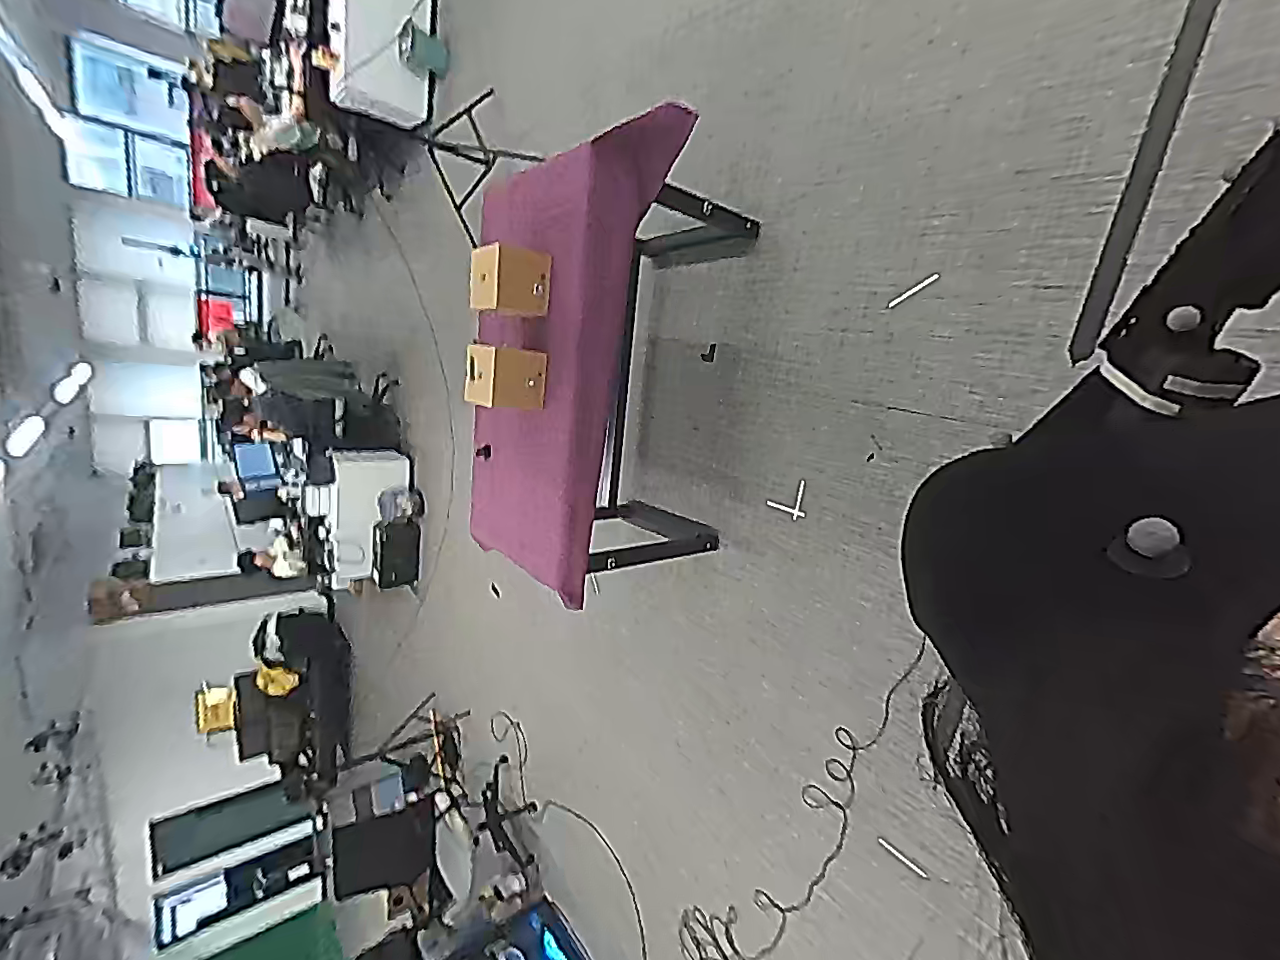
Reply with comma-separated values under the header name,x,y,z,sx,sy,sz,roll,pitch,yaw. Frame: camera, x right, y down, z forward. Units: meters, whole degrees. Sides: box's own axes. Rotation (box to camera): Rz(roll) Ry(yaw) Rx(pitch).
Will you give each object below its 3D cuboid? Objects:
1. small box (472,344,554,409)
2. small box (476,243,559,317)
name,x,y,z,sx,sy,sz,roll,pitch,yaw
small box,-0.375,-0.302,1.589,0.179,0.176,0.168,19,107,47
small box,-0.353,-0.564,1.548,0.179,0.176,0.168,16,106,48
